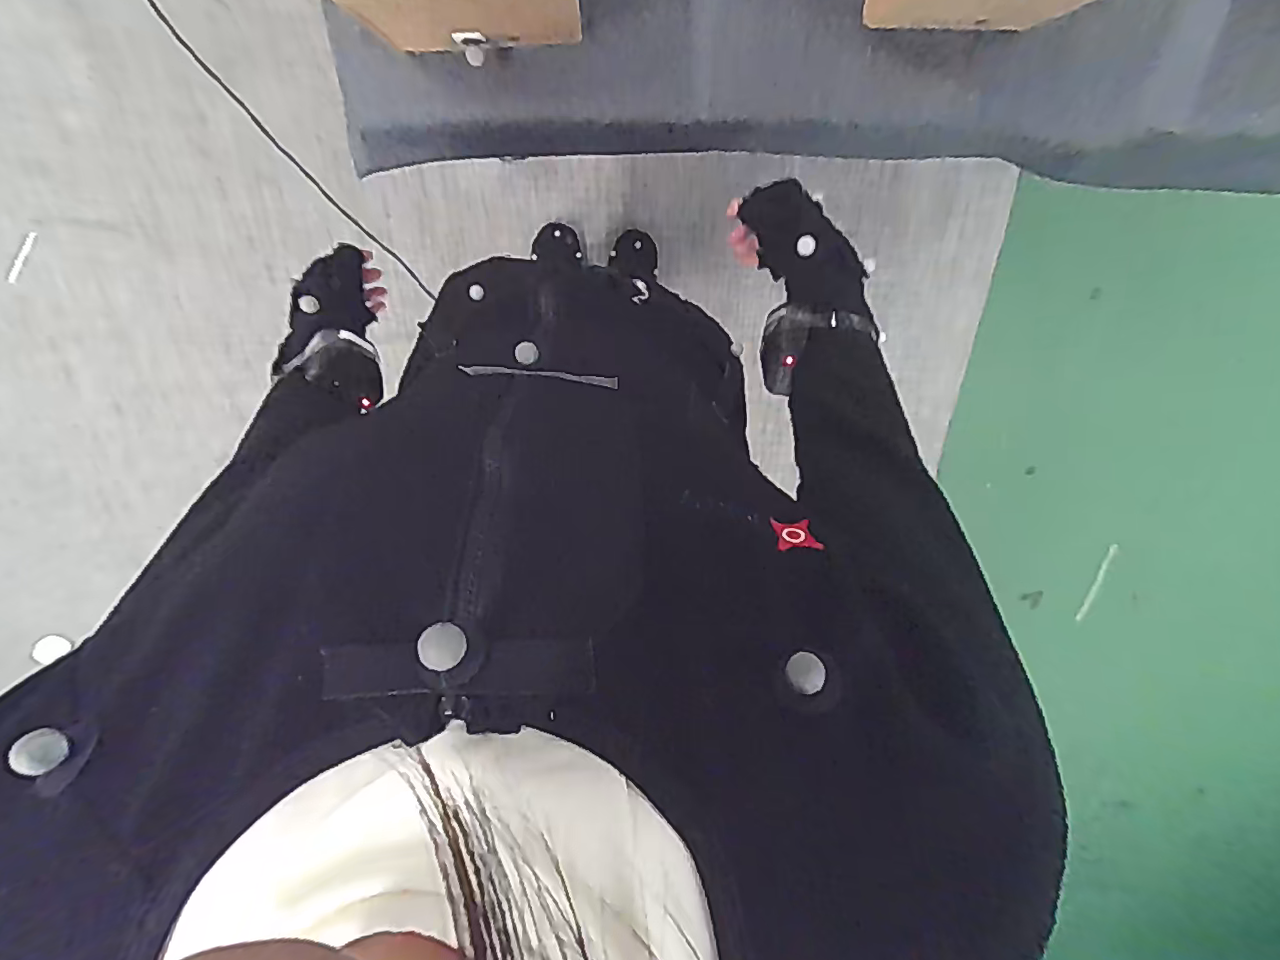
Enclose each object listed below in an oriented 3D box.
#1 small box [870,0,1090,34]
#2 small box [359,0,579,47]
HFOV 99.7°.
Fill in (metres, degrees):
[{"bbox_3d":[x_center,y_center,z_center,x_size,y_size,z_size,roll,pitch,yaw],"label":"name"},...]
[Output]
[{"bbox_3d":[0.293,-0.467,0.398,0.168,0.176,0.179,-2,116,-3],"label":"small box"},{"bbox_3d":[-0.133,-0.425,0.365,0.168,0.176,0.179,-3,117,-1],"label":"small box"}]
